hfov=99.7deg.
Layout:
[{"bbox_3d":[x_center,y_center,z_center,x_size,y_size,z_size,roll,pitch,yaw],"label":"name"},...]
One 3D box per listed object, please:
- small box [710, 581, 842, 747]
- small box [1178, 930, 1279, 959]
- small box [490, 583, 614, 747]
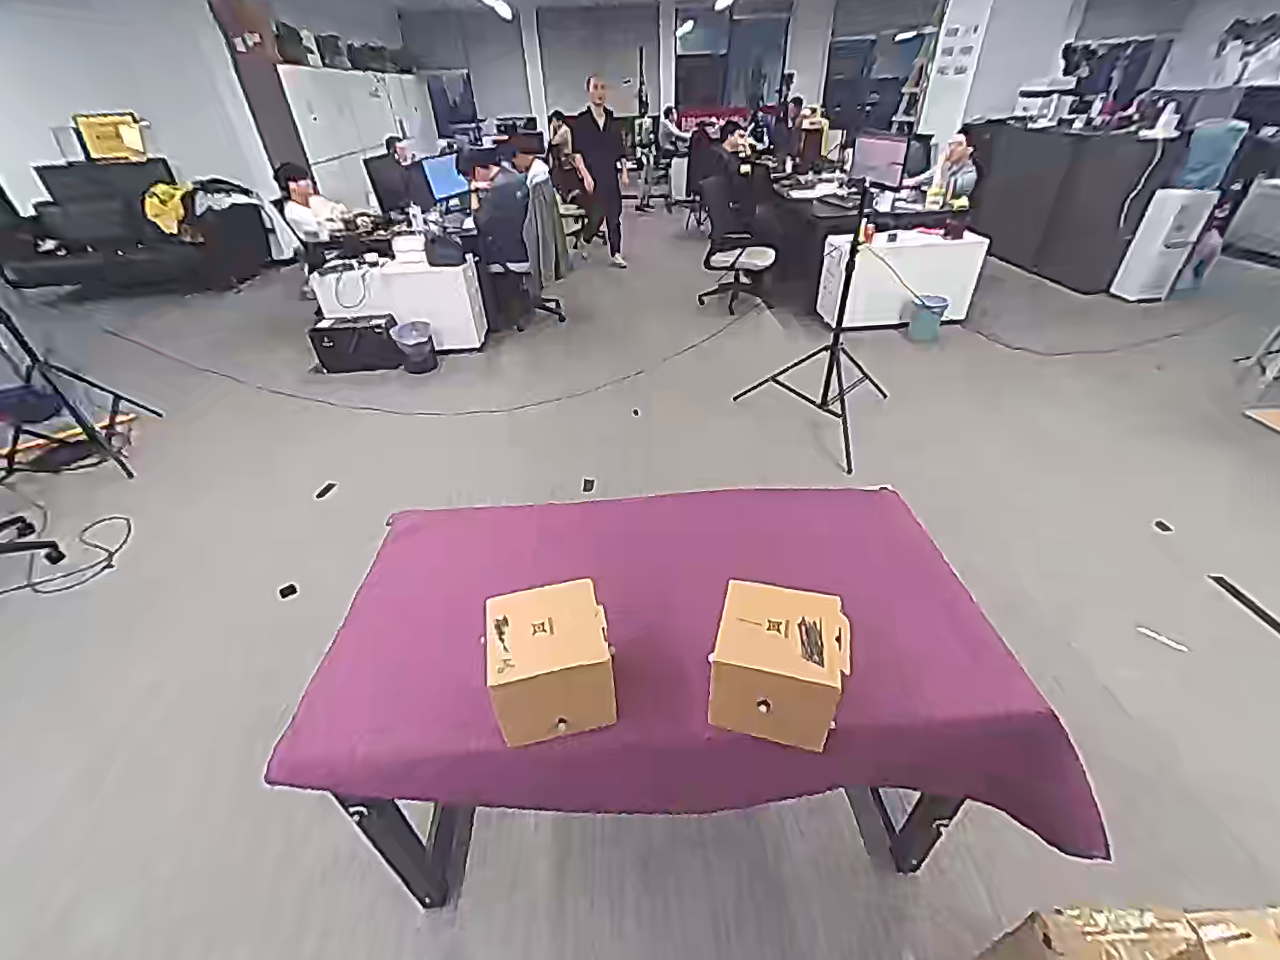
[{"bbox_3d":[0.211,0.289,0.851,0.179,0.176,0.168,7,36,15],"label":"small box"},{"bbox_3d":[0.694,0.601,0.560,0.168,0.176,0.179,-7,37,-1],"label":"small box"},{"bbox_3d":[-0.139,0.294,0.867,0.179,0.176,0.168,-9,35,-10],"label":"small box"}]
